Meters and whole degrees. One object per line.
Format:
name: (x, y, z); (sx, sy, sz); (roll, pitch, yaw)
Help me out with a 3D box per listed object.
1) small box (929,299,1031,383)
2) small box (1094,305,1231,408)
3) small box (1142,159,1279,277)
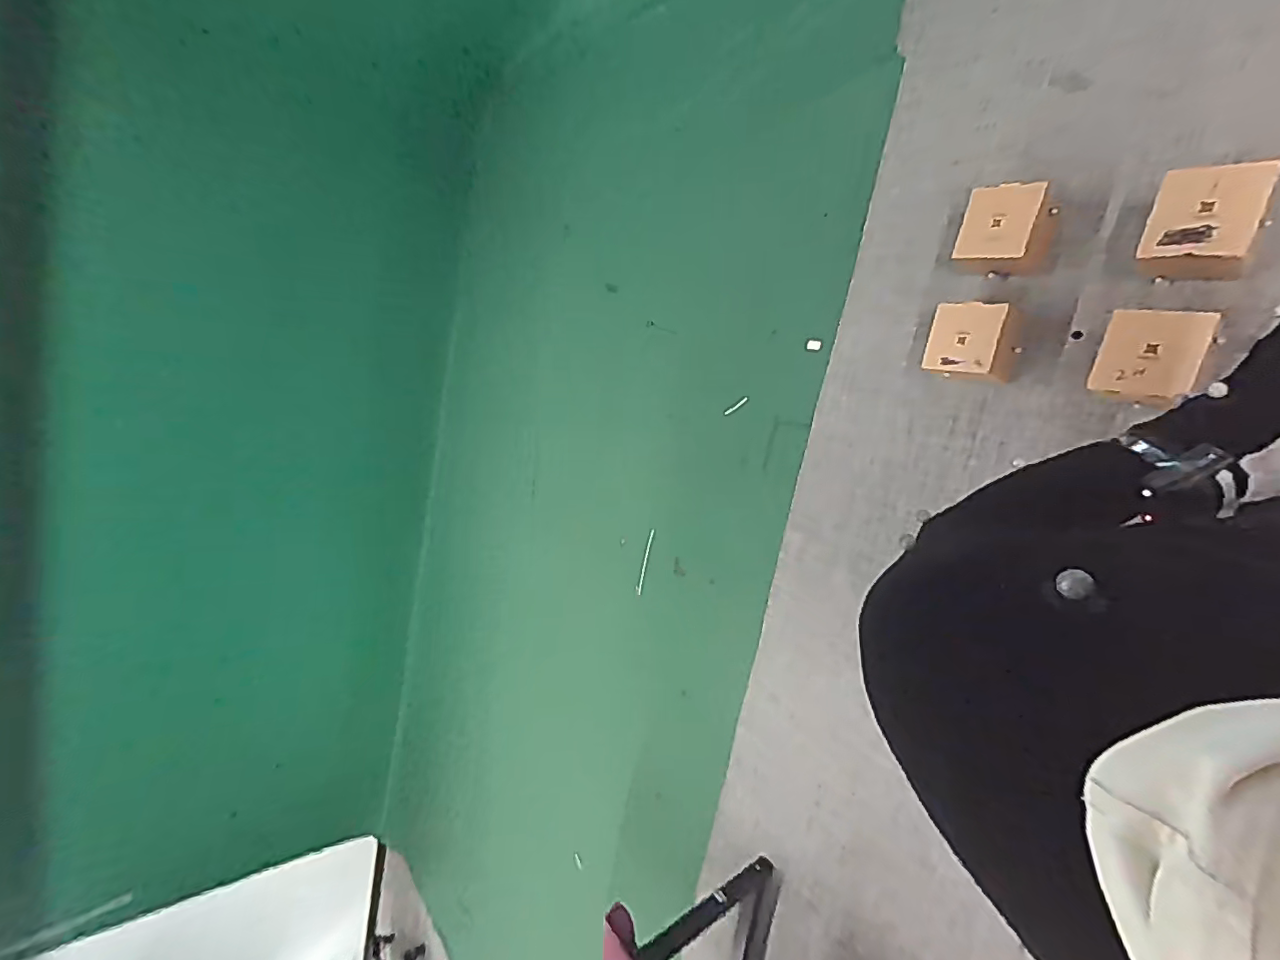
small box: (0.905, -0.366, 1.432); (0.168, 0.176, 0.179); (23, 103, 47)
small box: (1.130, -0.265, 1.172); (0.168, 0.176, 0.179); (25, 106, 47)
small box: (1.192, -0.531, 1.121); (0.168, 0.176, 0.179); (25, 105, 46)
